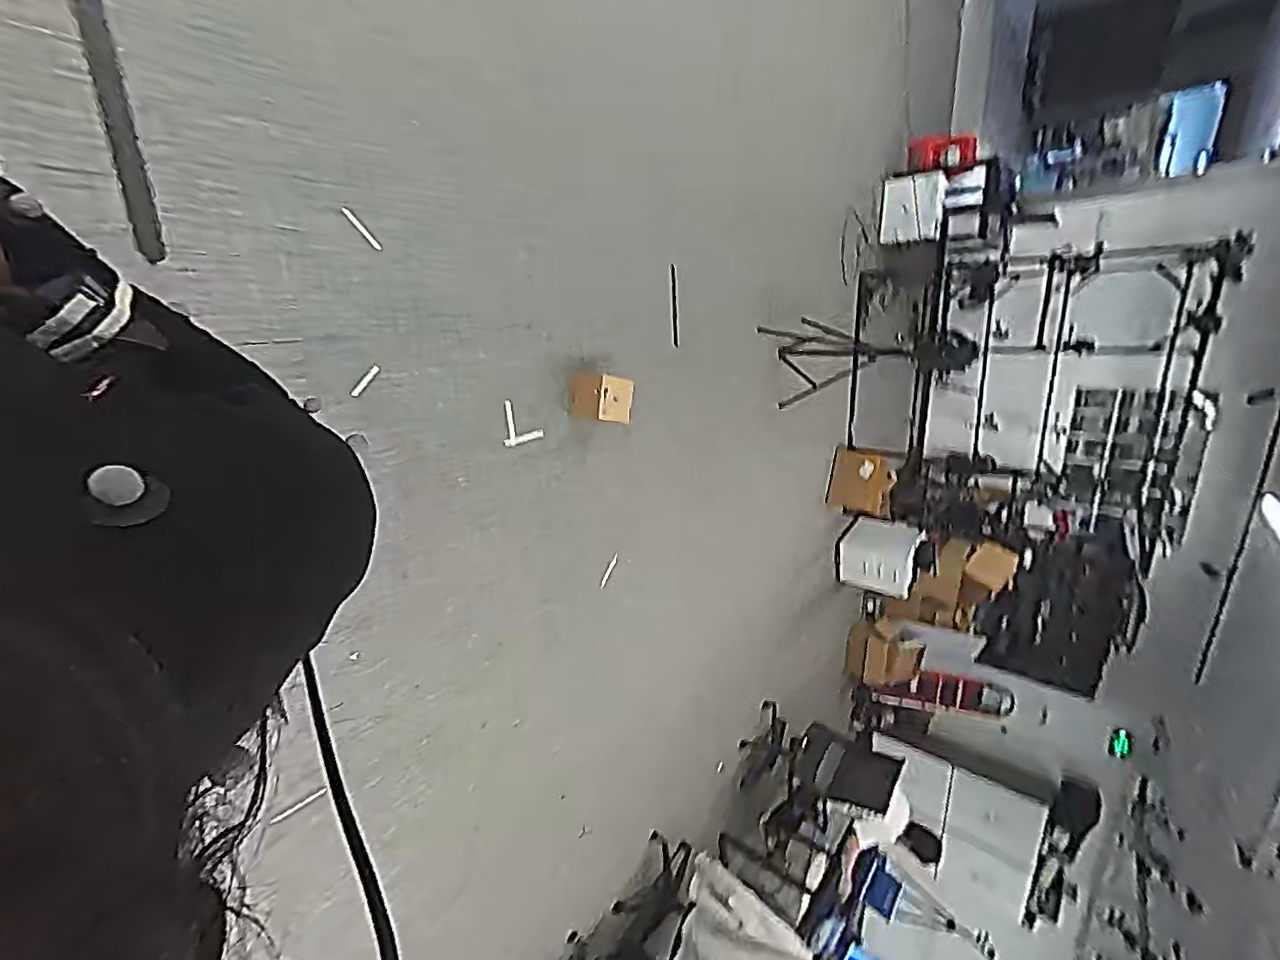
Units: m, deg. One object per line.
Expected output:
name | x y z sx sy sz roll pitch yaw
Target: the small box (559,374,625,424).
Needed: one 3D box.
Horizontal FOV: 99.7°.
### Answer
small box | -0.186 -0.316 2.102 0.179 0.176 0.168 1 98 -52
